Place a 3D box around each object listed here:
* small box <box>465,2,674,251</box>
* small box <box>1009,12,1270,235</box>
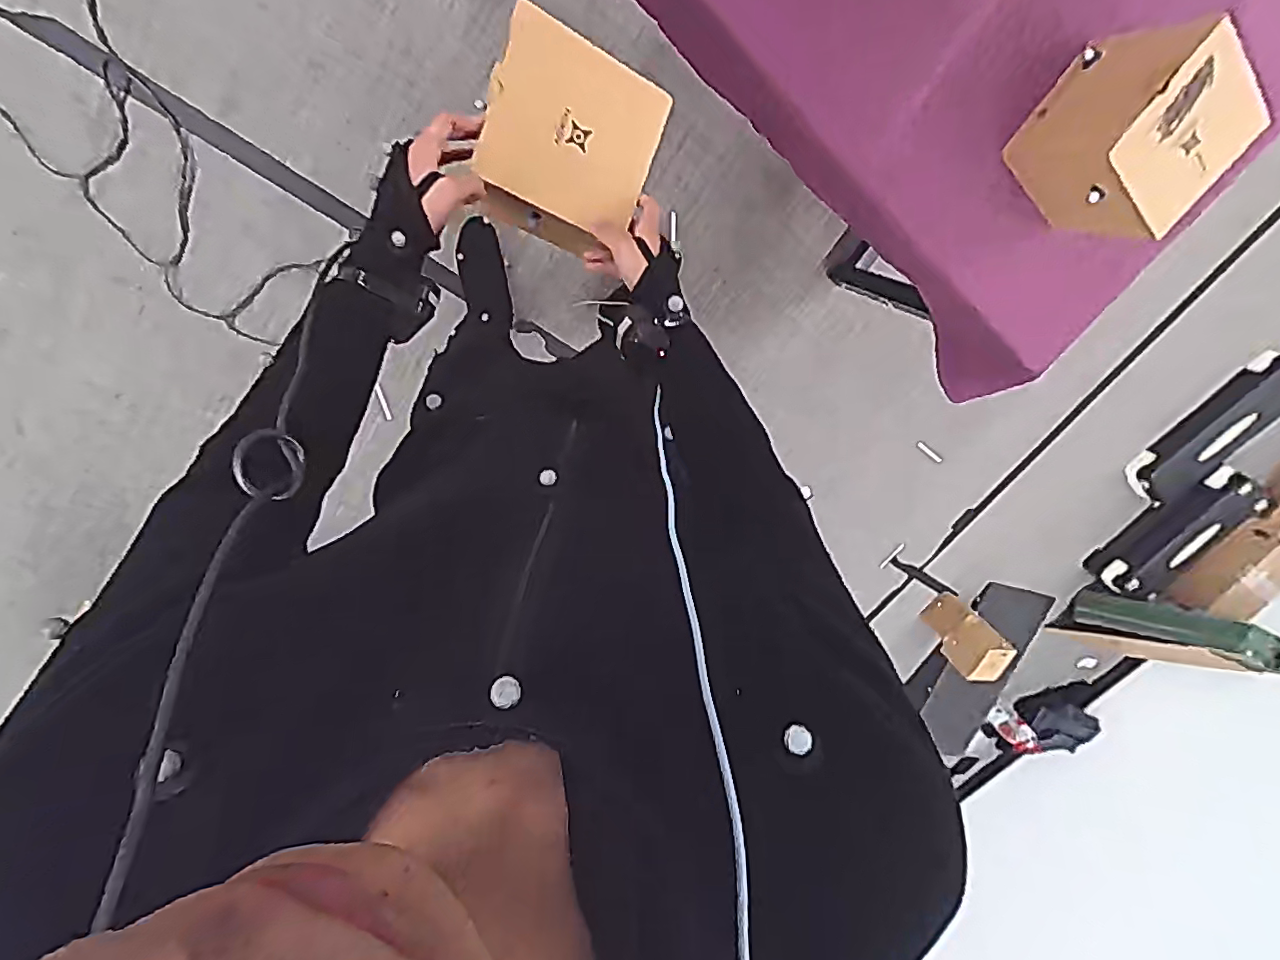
[{"bbox_3d":[-0.092,-0.381,0.628,0.179,0.176,0.168,16,101,-24],"label":"small box"},{"bbox_3d":[0.649,-0.458,0.722,0.179,0.176,0.168,27,111,-27],"label":"small box"}]
